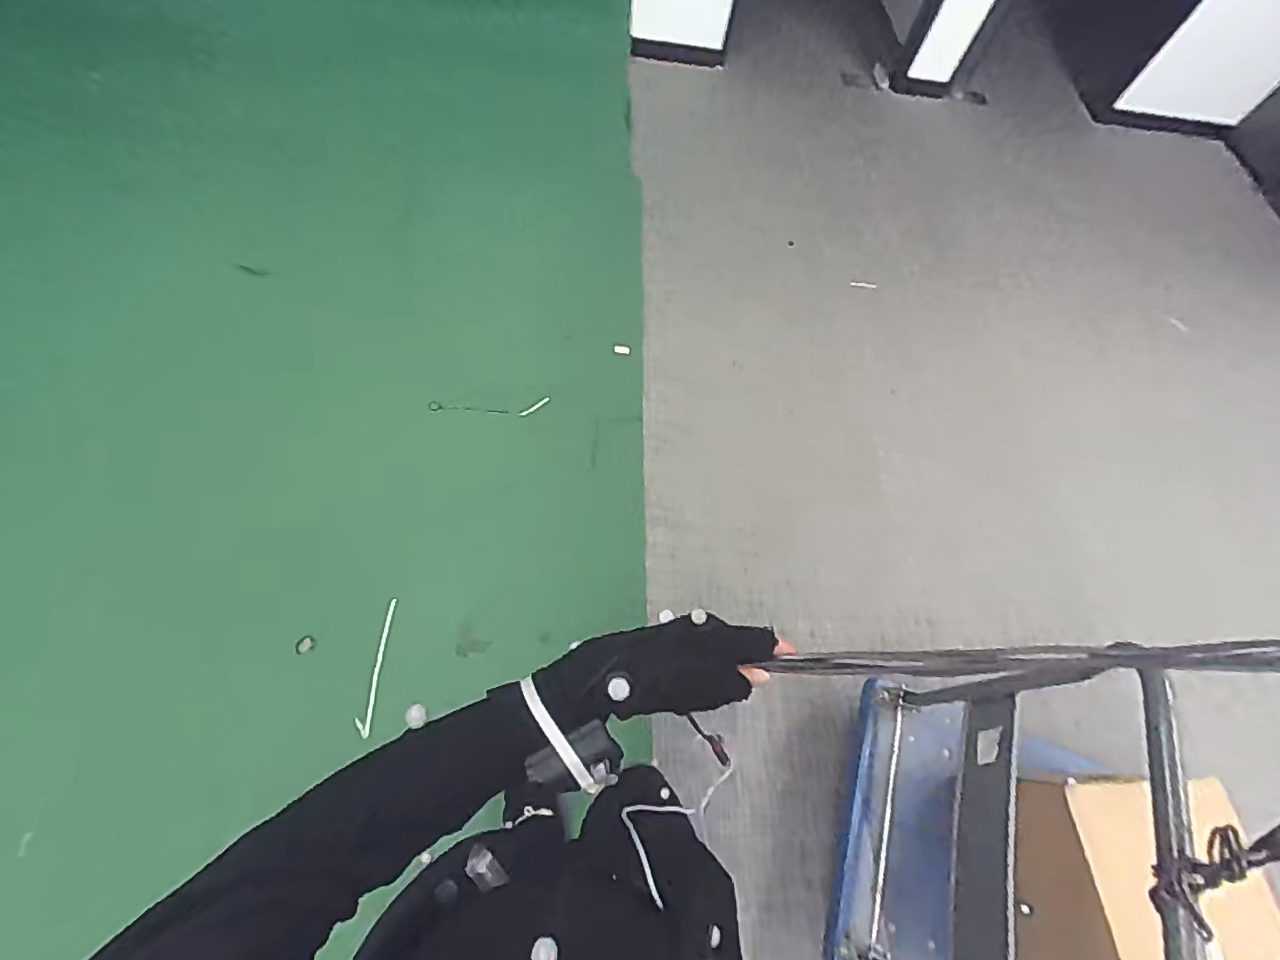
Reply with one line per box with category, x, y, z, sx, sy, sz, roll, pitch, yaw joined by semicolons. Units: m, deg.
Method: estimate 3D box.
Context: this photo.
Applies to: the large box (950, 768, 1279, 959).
large box;0.853;0.765;0.992;0.320;0.320;0.408;2;62;-7
